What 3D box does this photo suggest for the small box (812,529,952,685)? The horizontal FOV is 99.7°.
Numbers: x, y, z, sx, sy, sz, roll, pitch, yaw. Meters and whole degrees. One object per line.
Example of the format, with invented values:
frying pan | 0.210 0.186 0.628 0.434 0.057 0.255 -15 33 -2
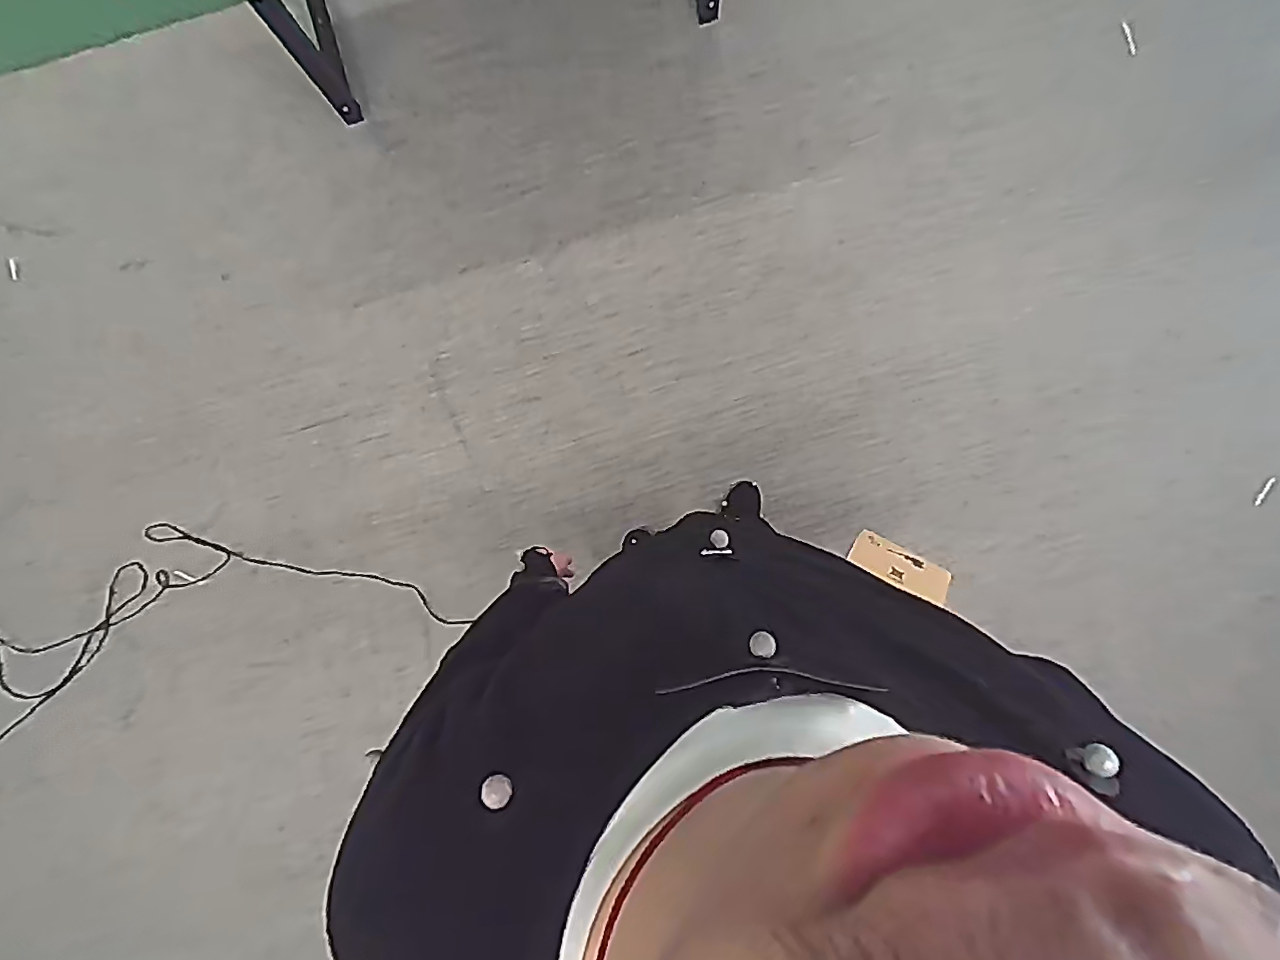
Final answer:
small box | 0.424 0.225 0.962 0.168 0.179 0.176 26 128 21
